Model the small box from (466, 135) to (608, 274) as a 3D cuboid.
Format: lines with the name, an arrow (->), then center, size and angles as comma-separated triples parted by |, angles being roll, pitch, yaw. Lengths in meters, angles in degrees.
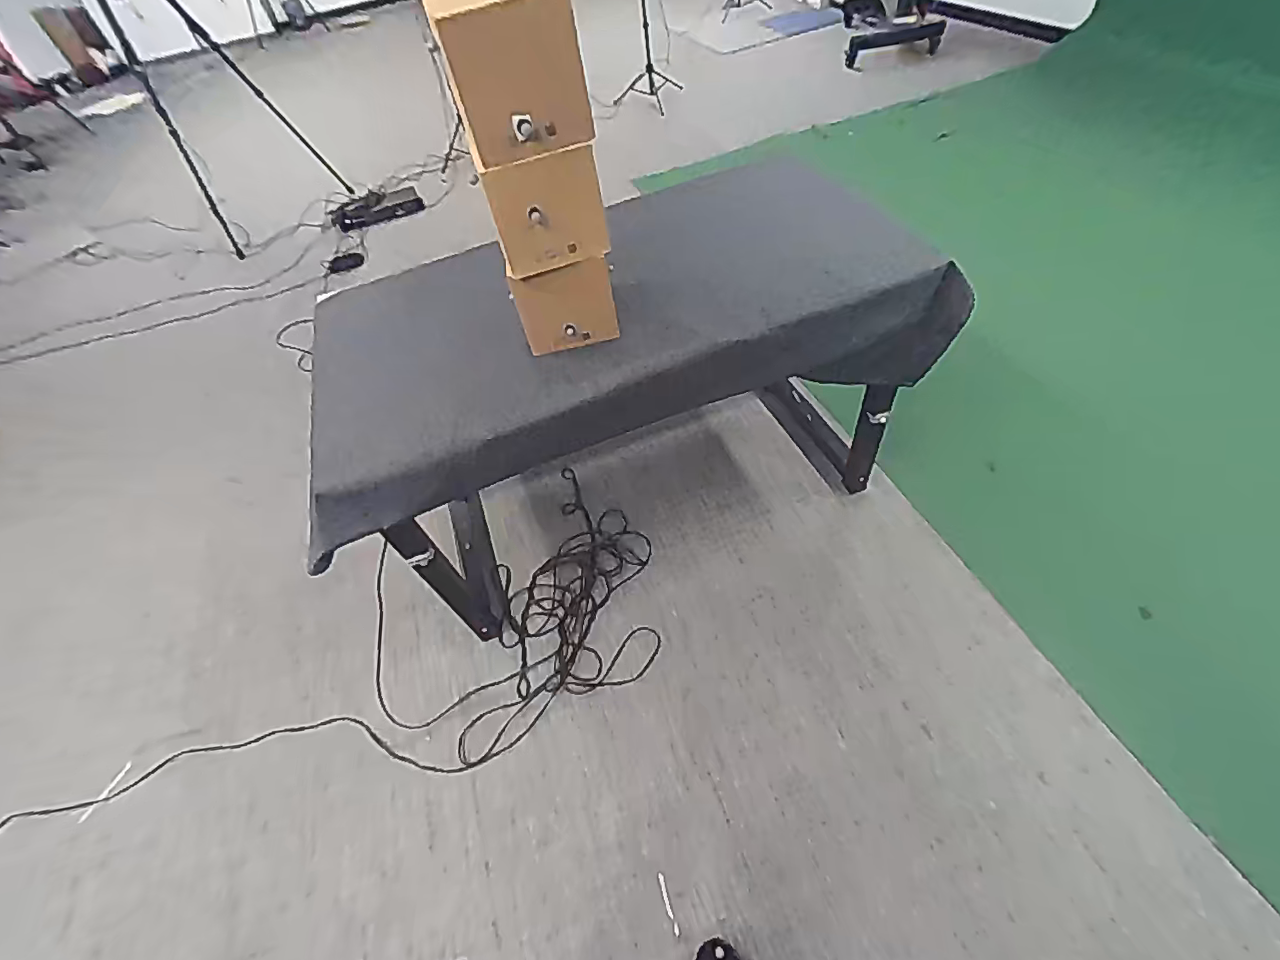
small box -> -0.160, -0.450, 0.861 | 0.168, 0.176, 0.179 | -19, 51, -6

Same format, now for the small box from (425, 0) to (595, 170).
small box -> -0.173, -0.555, 0.737 | 0.168, 0.176, 0.179 | -21, 52, -6
